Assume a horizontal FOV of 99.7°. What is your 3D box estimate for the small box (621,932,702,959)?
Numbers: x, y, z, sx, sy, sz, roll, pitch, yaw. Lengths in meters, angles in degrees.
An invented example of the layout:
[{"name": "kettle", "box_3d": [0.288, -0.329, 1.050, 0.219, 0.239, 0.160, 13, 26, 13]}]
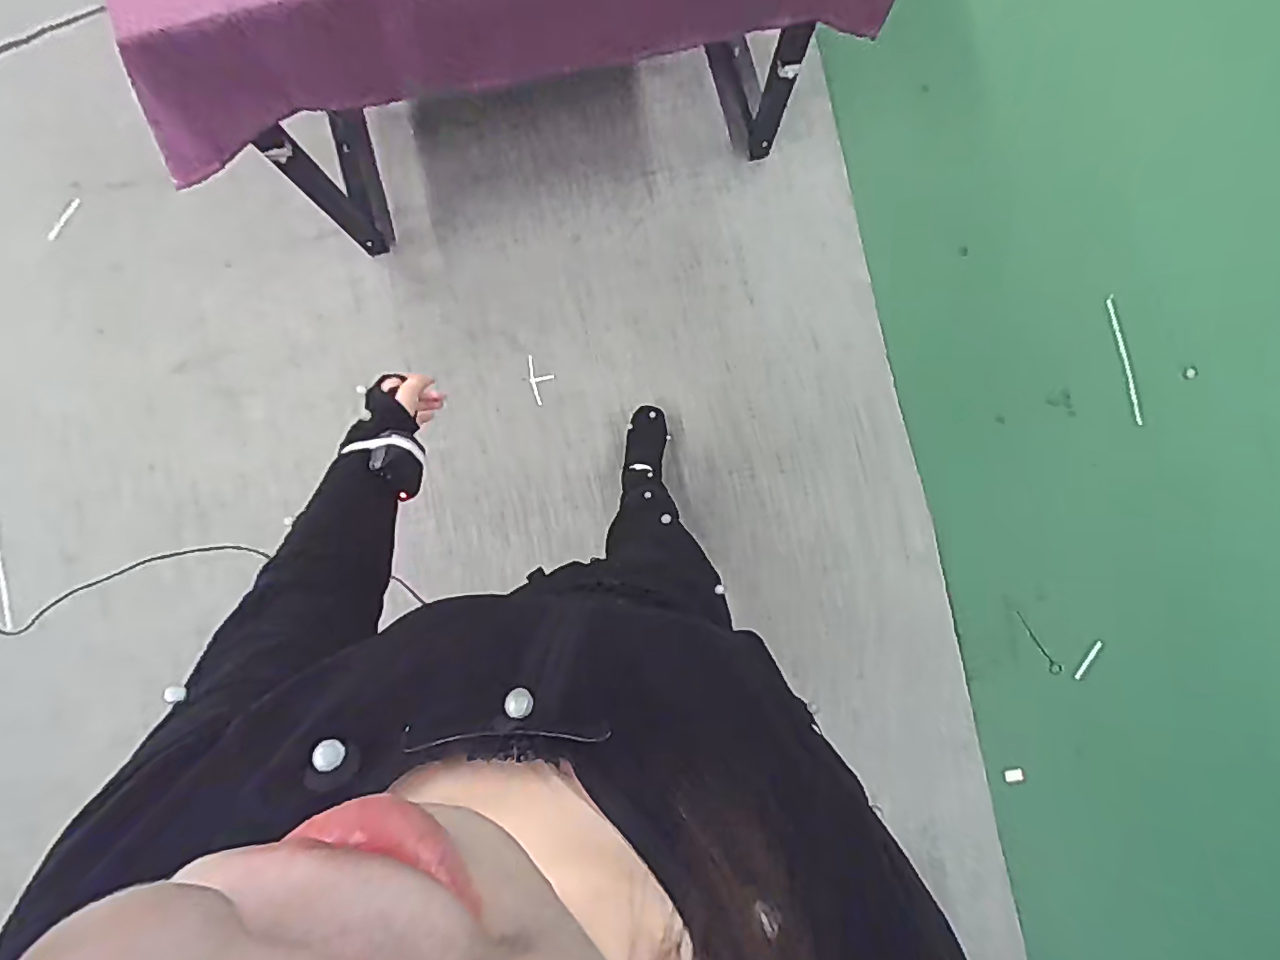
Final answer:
[{"name": "small box", "box_3d": [0.050, 1.034, 1.046, 0.168, 0.176, 0.179, -6, 89, -1]}]
